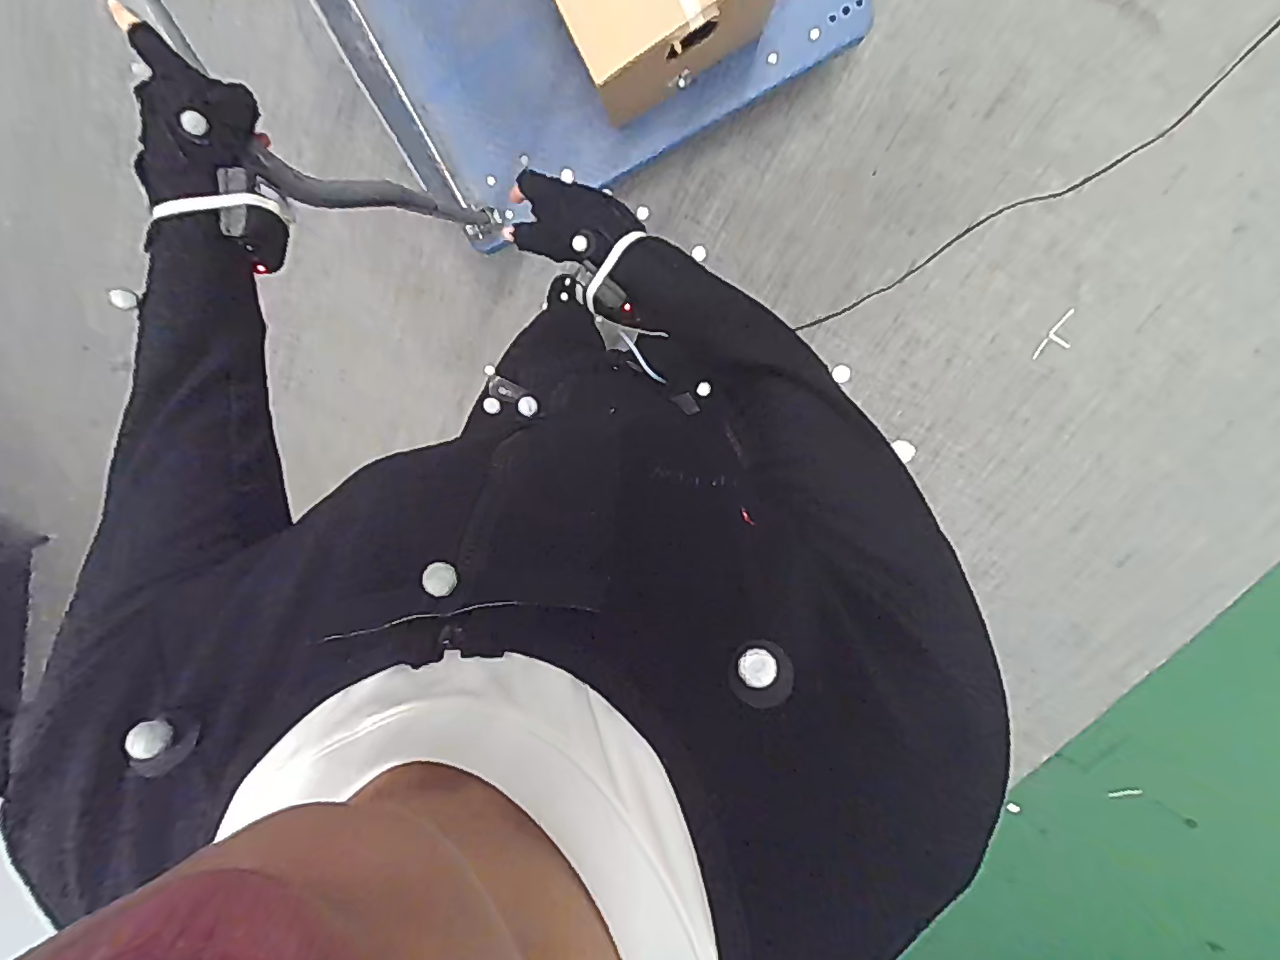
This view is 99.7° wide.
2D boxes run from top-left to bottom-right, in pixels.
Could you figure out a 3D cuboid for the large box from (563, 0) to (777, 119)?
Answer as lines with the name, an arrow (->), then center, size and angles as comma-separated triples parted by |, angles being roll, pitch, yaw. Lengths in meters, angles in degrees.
large box -> -0.003, -0.863, 0.816 | 0.320, 0.320, 0.408 | -26, 108, 13
